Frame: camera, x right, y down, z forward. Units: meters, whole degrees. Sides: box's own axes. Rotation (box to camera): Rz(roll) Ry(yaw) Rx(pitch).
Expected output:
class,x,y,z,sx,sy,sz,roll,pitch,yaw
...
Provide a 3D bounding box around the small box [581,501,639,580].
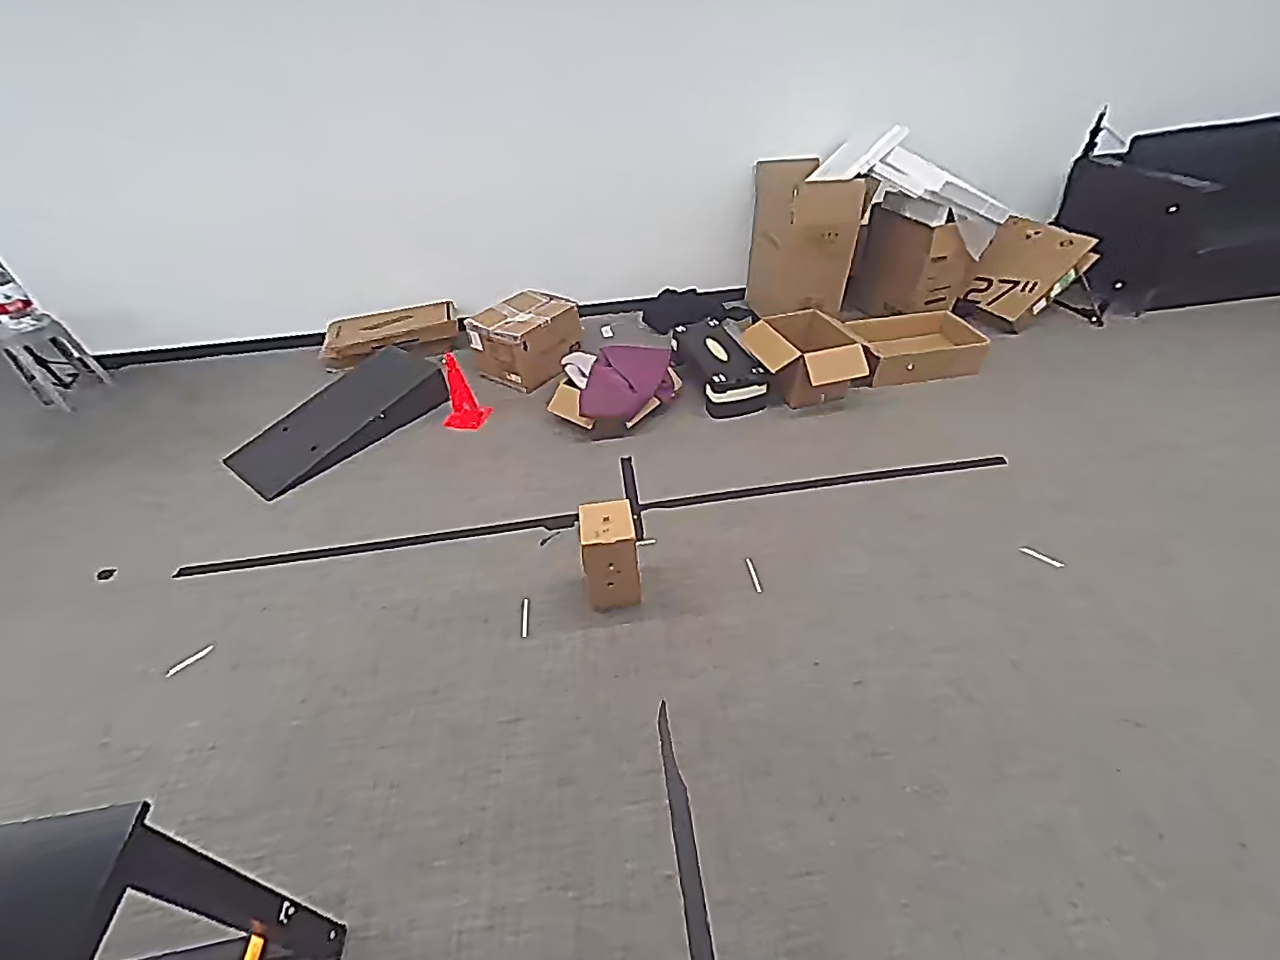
class,x,y,z,sx,sy,sz,roll,pitch,yaw
small box,-0.097,0.193,1.725,0.168,0.176,0.179,-7,41,-4

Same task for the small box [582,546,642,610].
class,x,y,z,sx,sy,sz,roll,pitch,yaw
small box,-0.093,0.319,1.831,0.179,0.176,0.168,-9,41,-7
